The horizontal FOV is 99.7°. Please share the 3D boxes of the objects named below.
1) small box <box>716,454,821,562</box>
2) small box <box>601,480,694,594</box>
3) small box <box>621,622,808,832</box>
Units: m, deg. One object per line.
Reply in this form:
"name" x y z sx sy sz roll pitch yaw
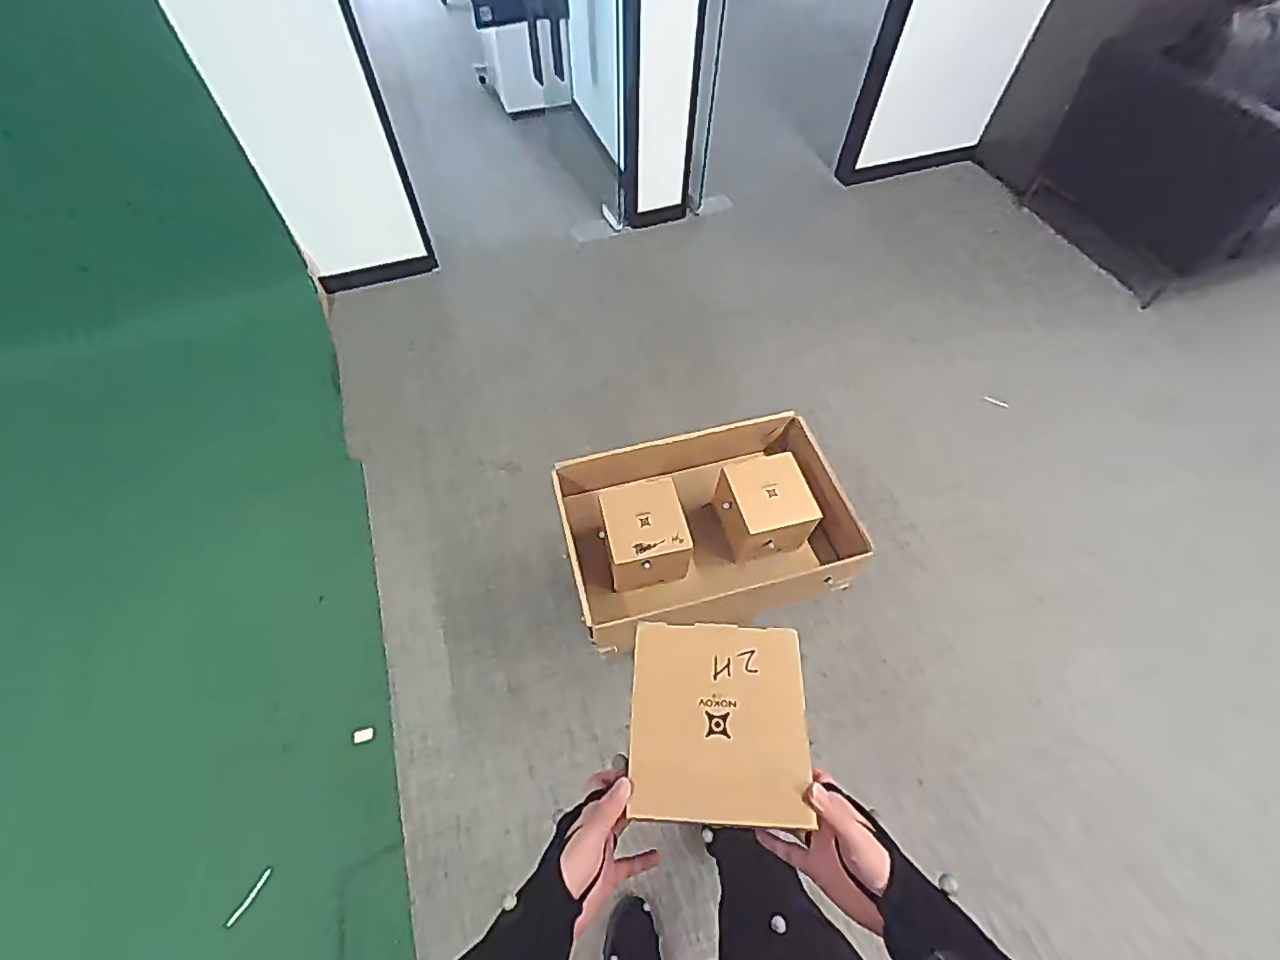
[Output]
"small box" 0.282 0.072 1.226 0.168 0.176 0.179 -12 59 -8
"small box" 0.012 0.127 1.184 0.168 0.176 0.179 -11 58 -6
"small box" 0.073 0.267 0.578 0.168 0.176 0.179 2 57 3
